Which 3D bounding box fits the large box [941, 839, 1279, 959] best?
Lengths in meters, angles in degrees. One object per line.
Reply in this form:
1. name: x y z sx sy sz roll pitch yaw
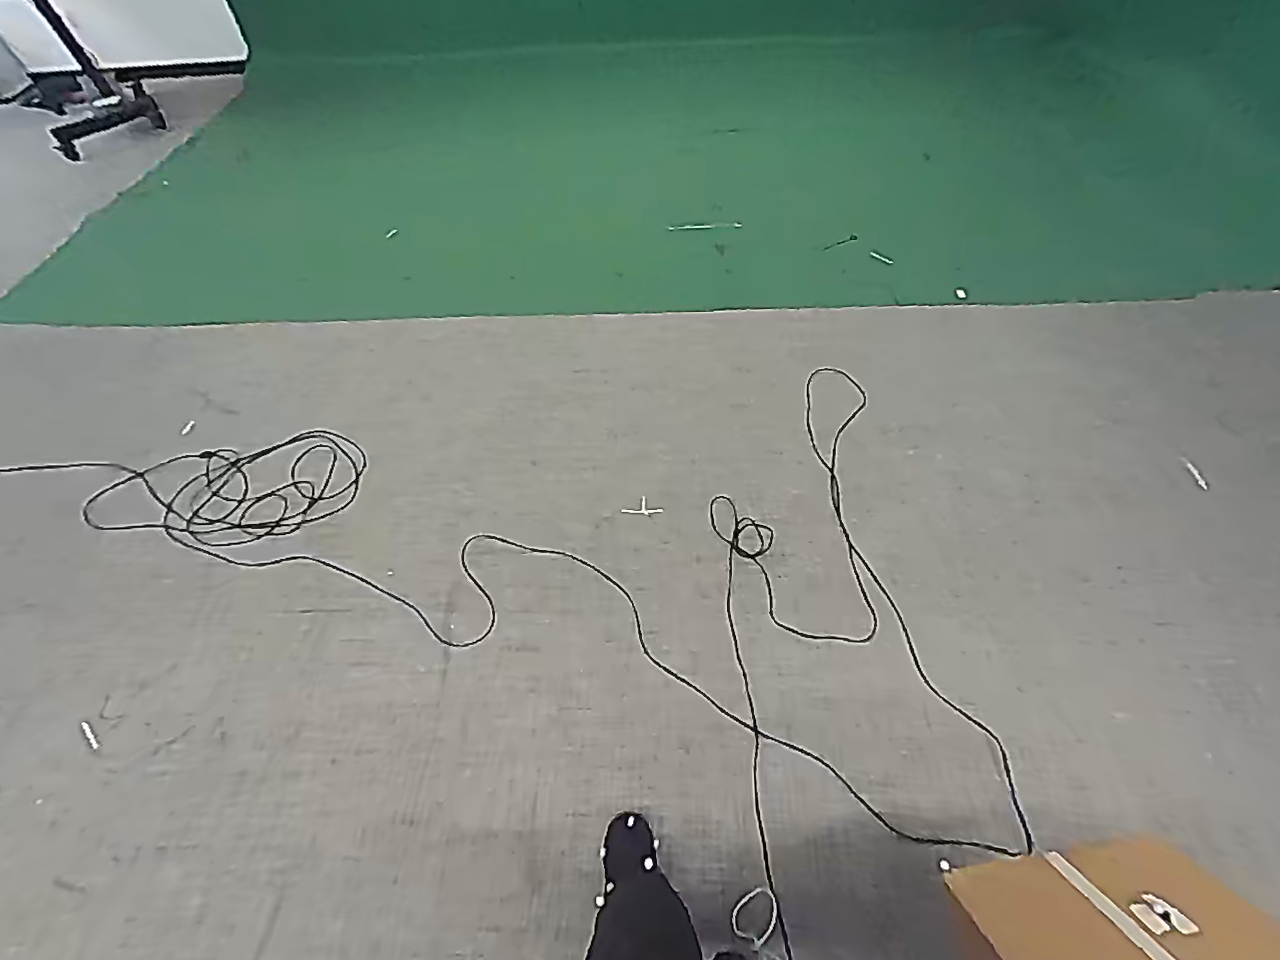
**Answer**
1. large box: 0.620 0.698 0.595 0.320 0.408 0.320 -12 87 3
